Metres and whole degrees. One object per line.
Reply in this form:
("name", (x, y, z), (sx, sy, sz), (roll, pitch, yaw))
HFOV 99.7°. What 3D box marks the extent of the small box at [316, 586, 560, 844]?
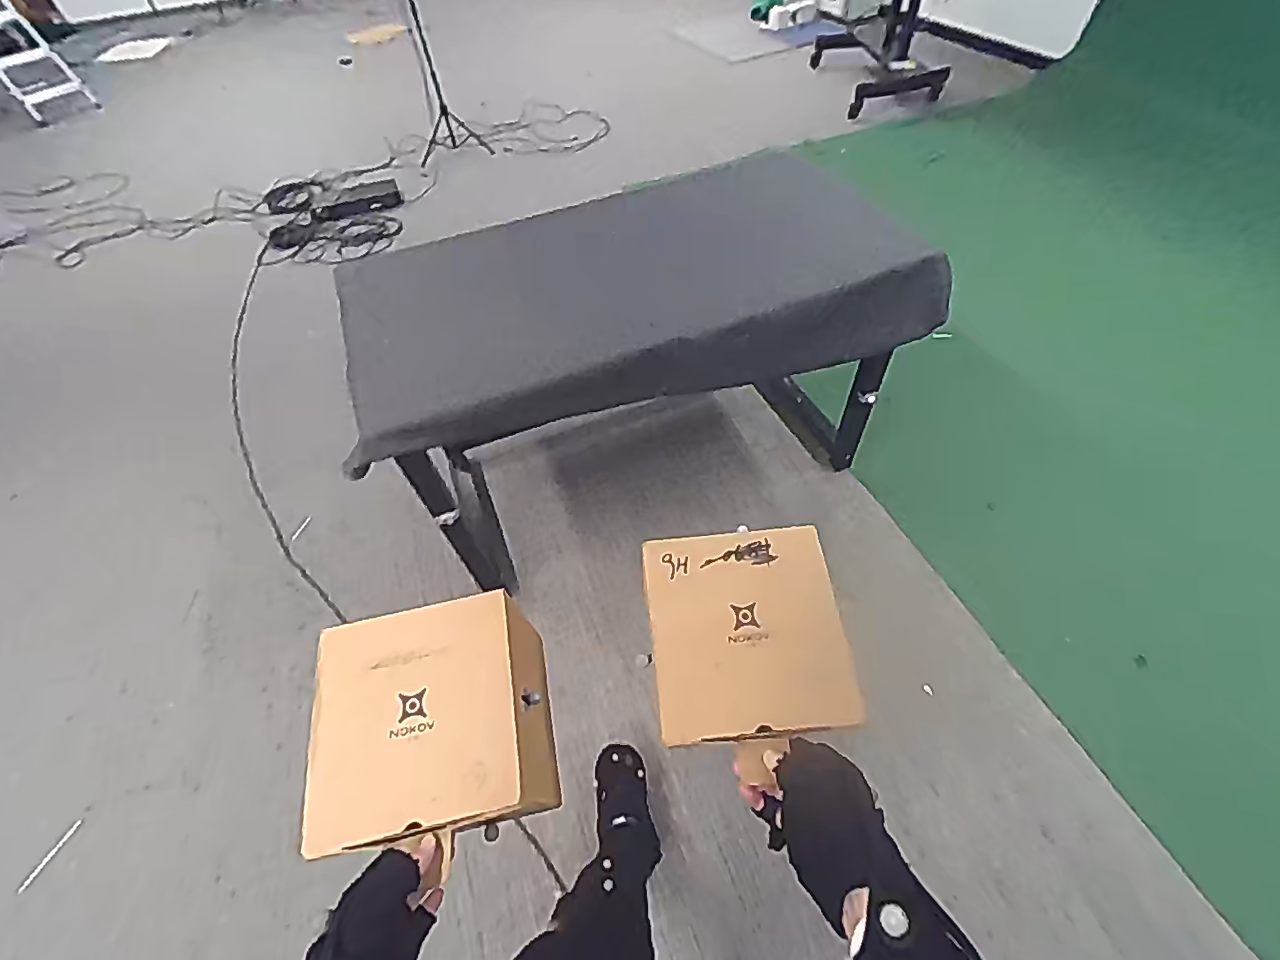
("small box", (-0.181, 0.228, 0.526), (0.168, 0.176, 0.179), (-13, 59, -4))
